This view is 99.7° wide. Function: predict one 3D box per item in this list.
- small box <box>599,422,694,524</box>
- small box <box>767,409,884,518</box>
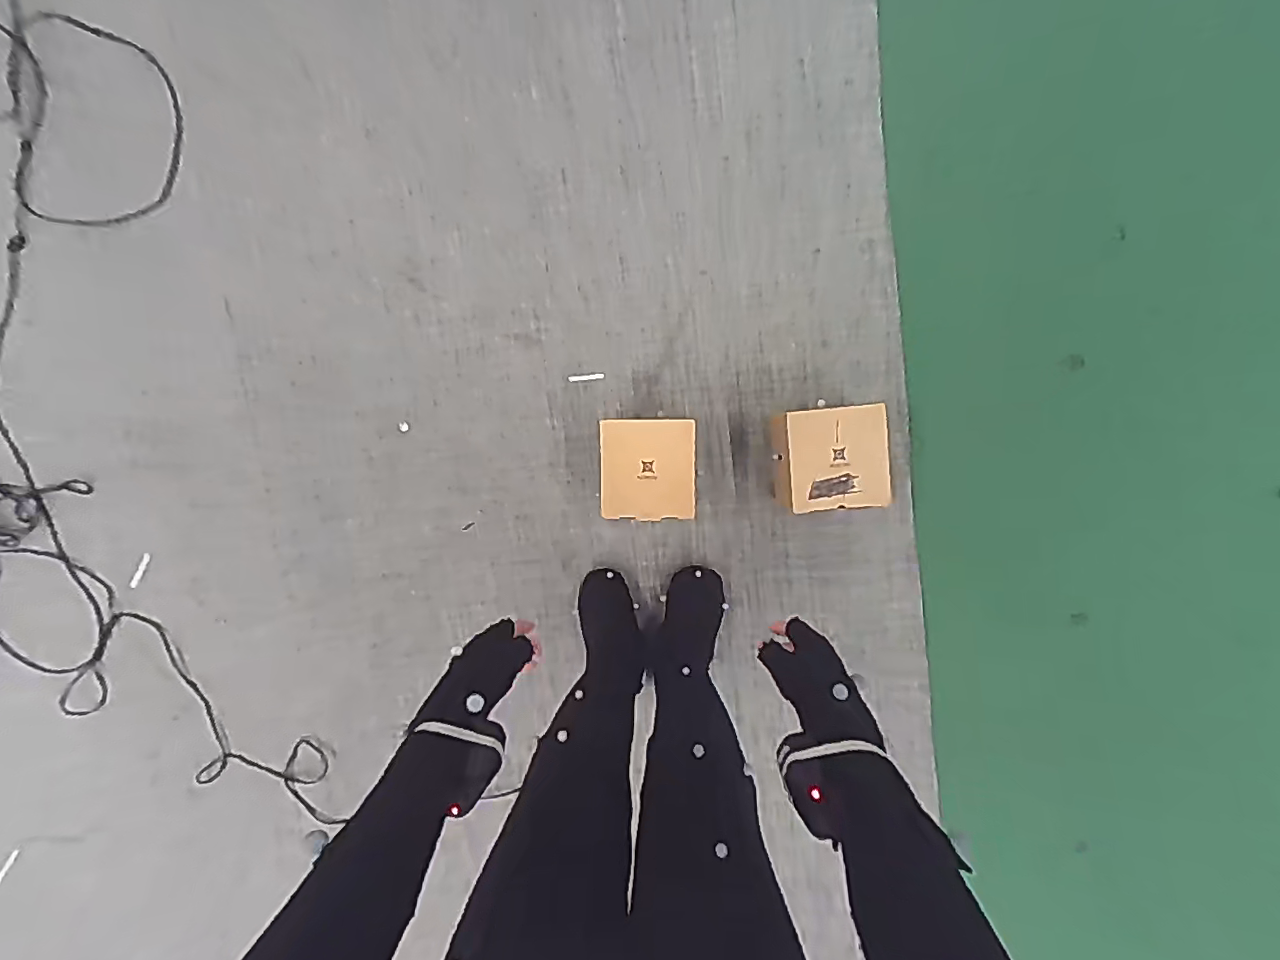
[{"bbox_3d":[0.014,-0.019,1.013,0.168,0.176,0.179,0,97,3],"label":"small box"},{"bbox_3d":[0.332,-0.035,0.991,0.168,0.176,0.179,-5,95,4],"label":"small box"}]
